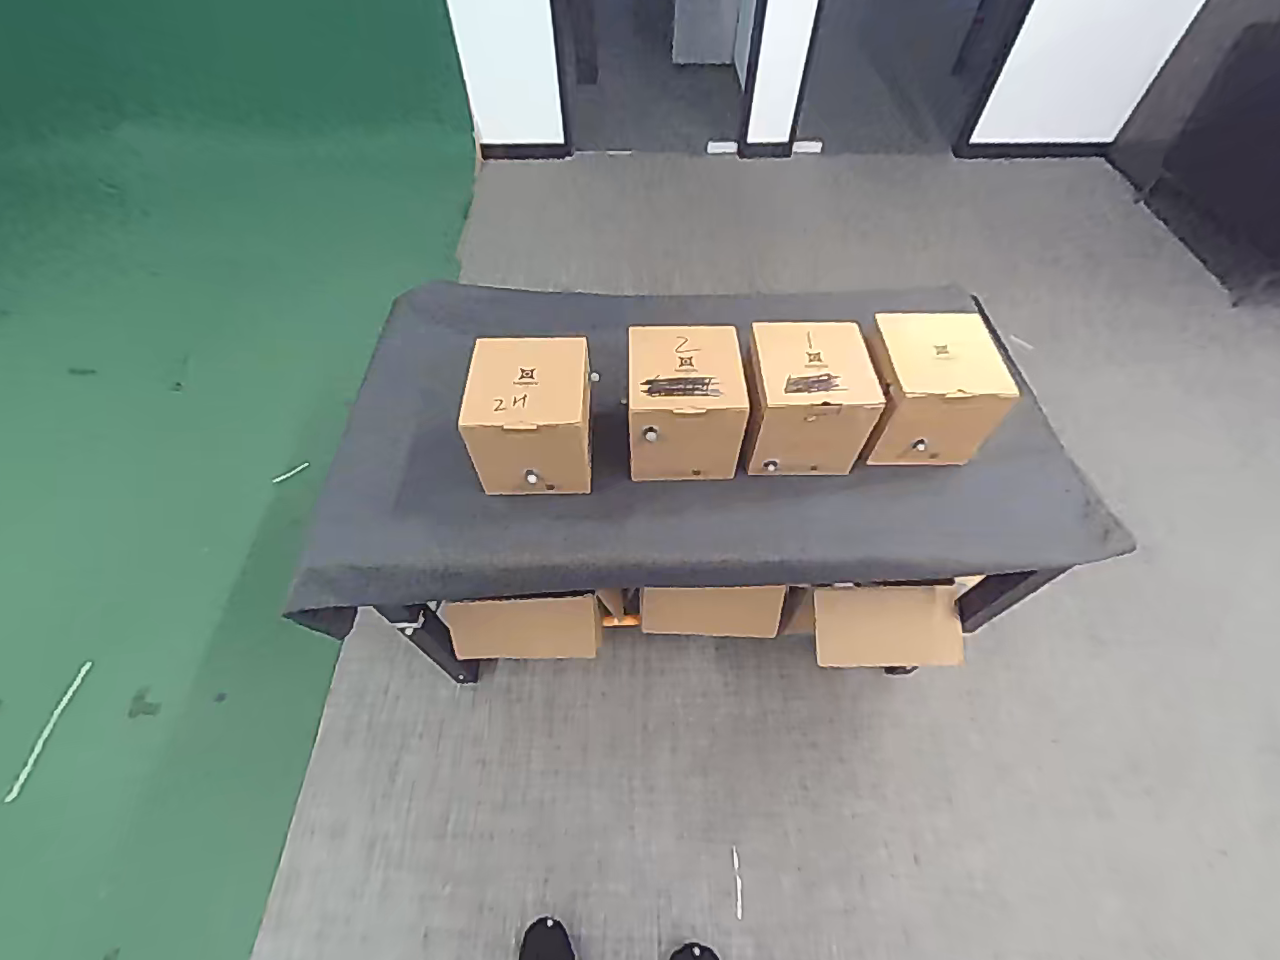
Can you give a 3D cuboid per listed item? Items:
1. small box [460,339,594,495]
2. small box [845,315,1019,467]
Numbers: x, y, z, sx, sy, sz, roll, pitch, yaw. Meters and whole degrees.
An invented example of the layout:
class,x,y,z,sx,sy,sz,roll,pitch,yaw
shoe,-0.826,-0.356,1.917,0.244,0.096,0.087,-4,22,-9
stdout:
class,x,y,z,sx,sy,sz,roll,pitch,yaw
small box,-0.159,-0.095,0.828,0.168,0.176,0.179,-1,55,-1
small box,0.448,-0.141,0.868,0.168,0.176,0.179,0,56,0
